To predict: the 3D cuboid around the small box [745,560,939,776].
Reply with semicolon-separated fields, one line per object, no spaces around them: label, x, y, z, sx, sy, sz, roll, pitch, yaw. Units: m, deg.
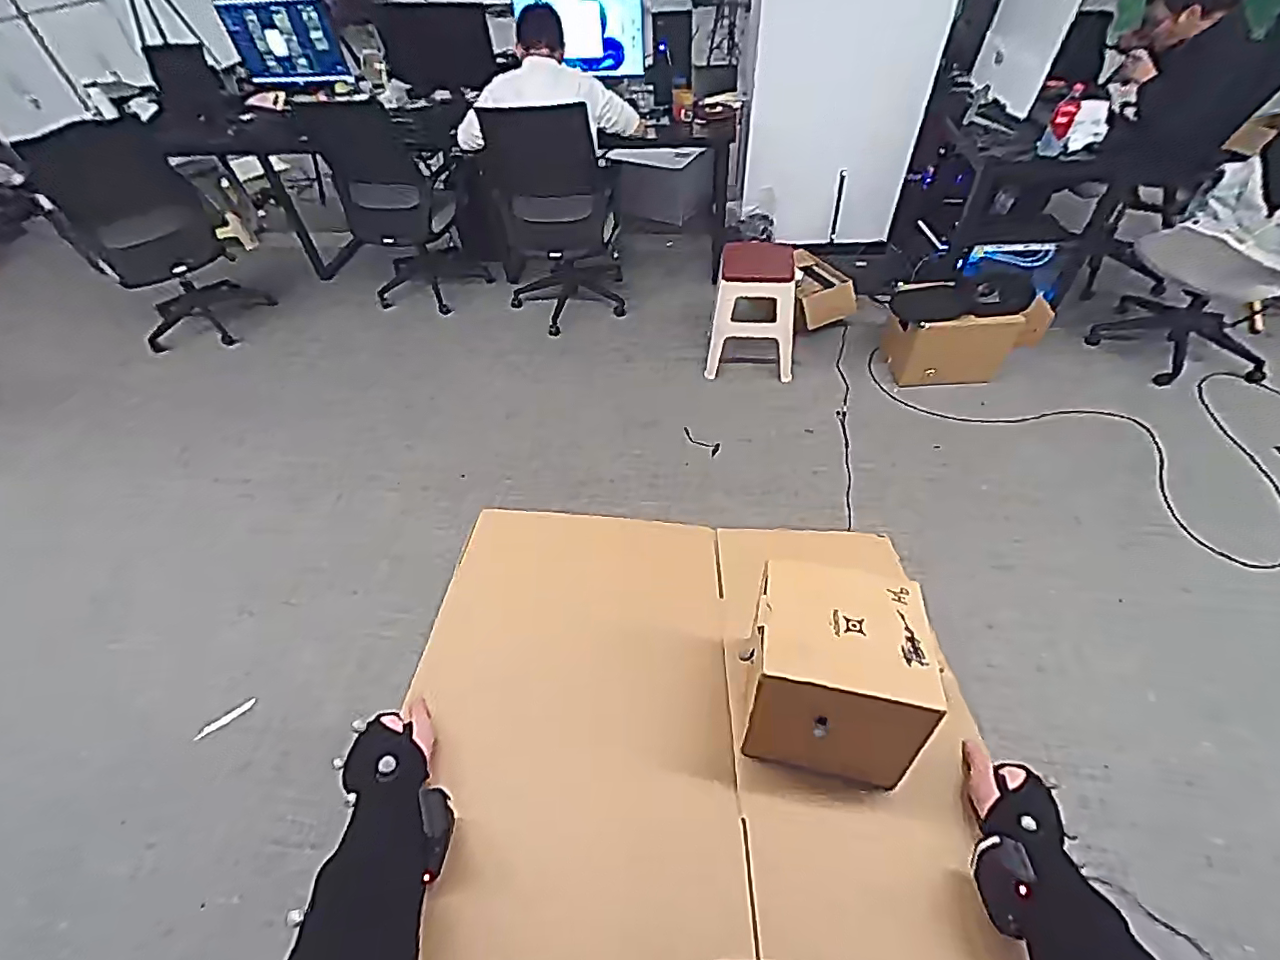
small box;0.223;0.221;0.641;0.179;0.176;0.168;7;39;11
